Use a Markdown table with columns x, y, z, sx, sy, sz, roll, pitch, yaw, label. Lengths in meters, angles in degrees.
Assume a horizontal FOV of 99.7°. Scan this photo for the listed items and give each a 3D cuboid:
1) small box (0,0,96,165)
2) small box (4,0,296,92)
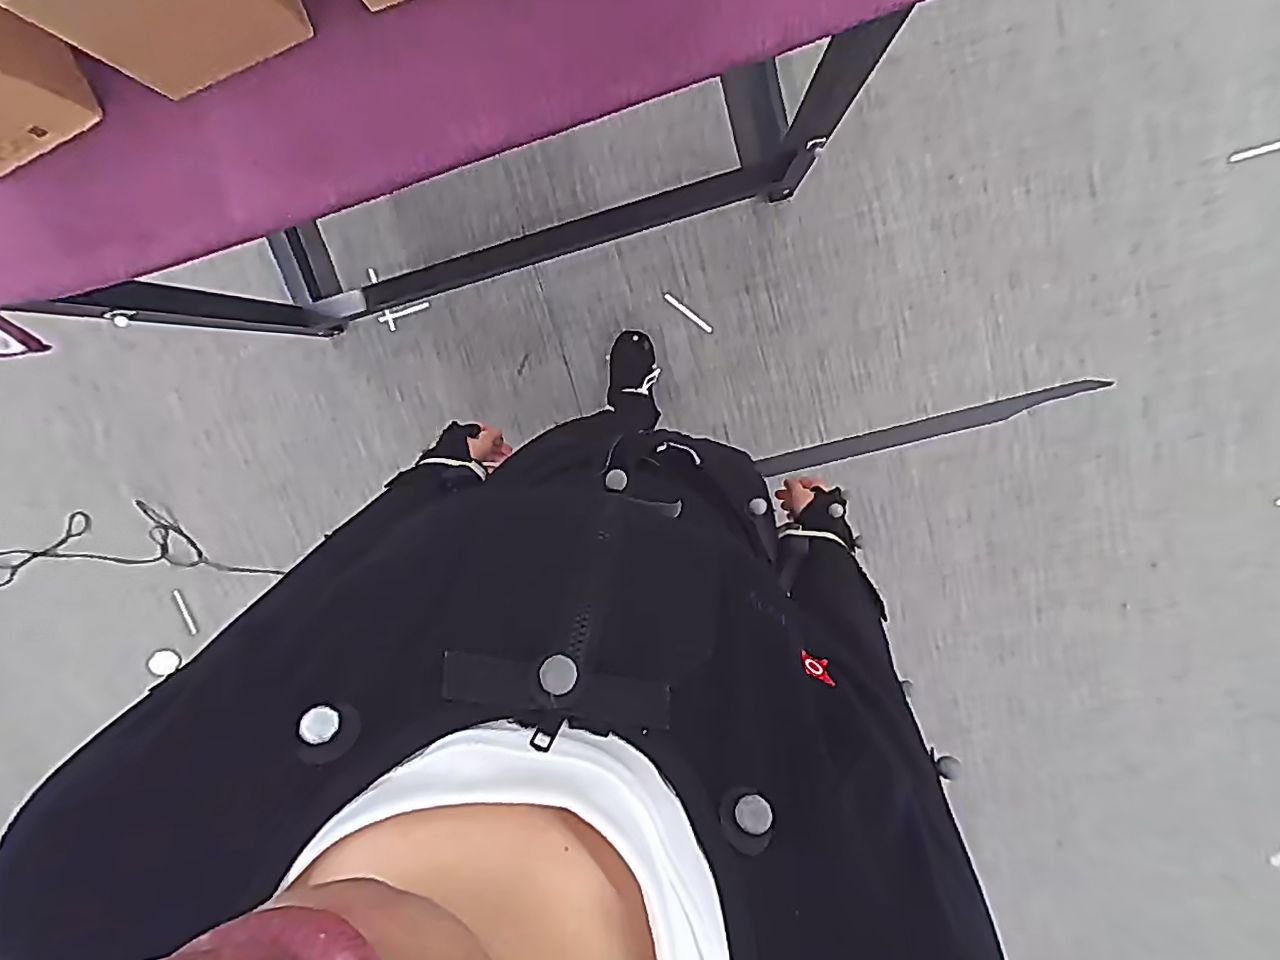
| x | y | z | sx | sy | sz | roll | pitch | yaw | label |
| --- | --- | --- | --- | --- | --- | --- | --- | --- | --- |
| -0.695 | -0.429 | 0.511 | 0.168 | 0.176 | 0.179 | -21 | 99 | 7 | small box |
| -0.449 | -0.497 | 0.480 | 0.179 | 0.176 | 0.168 | -18 | 99 | 7 | small box |
